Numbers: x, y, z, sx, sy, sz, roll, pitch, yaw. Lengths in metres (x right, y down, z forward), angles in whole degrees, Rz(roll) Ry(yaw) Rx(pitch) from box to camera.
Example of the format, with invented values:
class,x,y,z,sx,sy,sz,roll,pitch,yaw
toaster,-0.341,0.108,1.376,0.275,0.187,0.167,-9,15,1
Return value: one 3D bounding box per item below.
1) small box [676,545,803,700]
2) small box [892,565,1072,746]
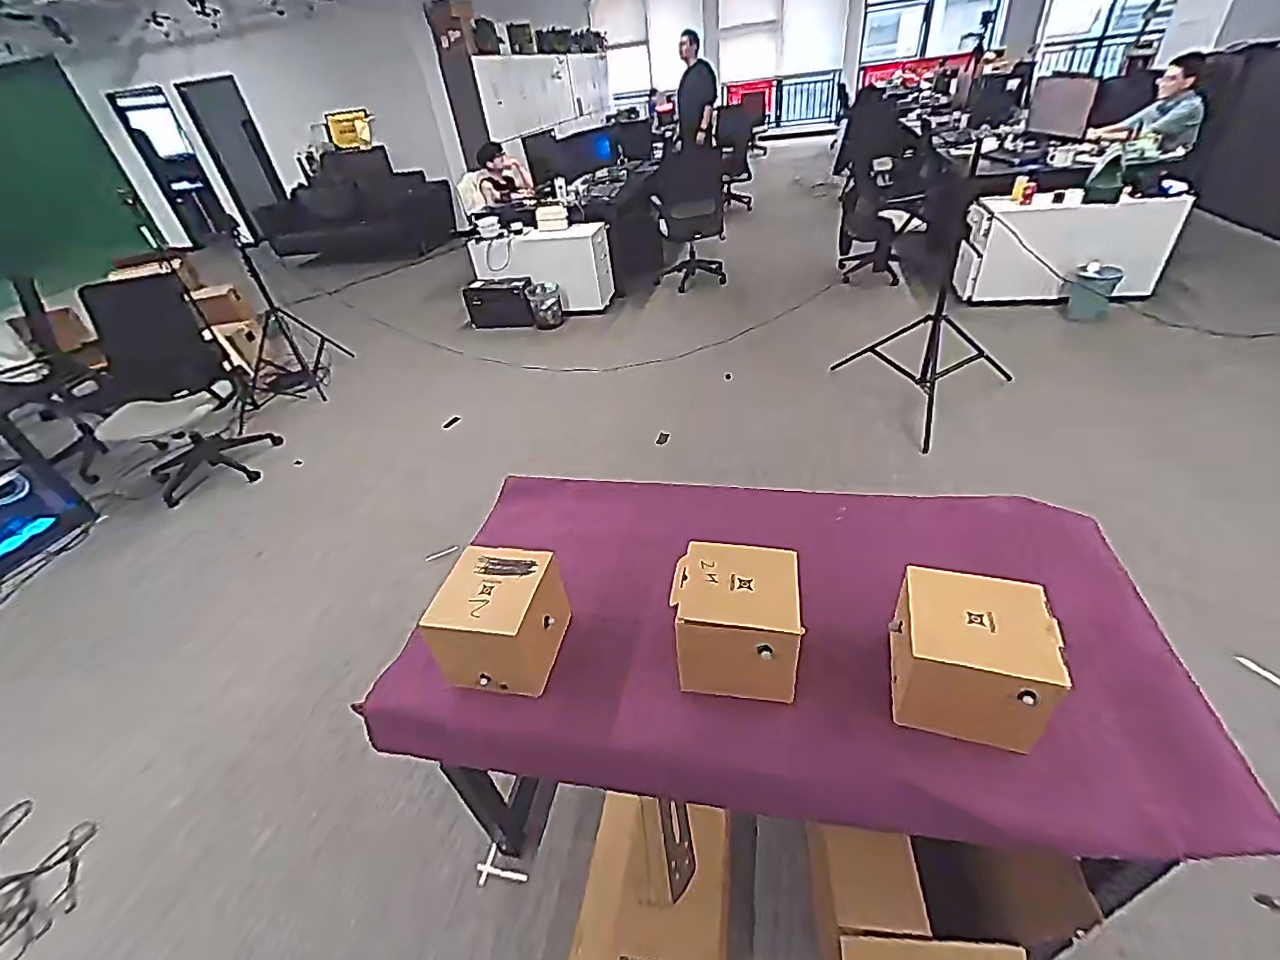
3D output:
class,x,y,z,sx,sy,sz,roll,pitch,yaw
small box,0.158,0.225,0.857,0.179,0.176,0.168,1,35,12
small box,0.464,0.248,0.770,0.179,0.176,0.168,6,39,18
